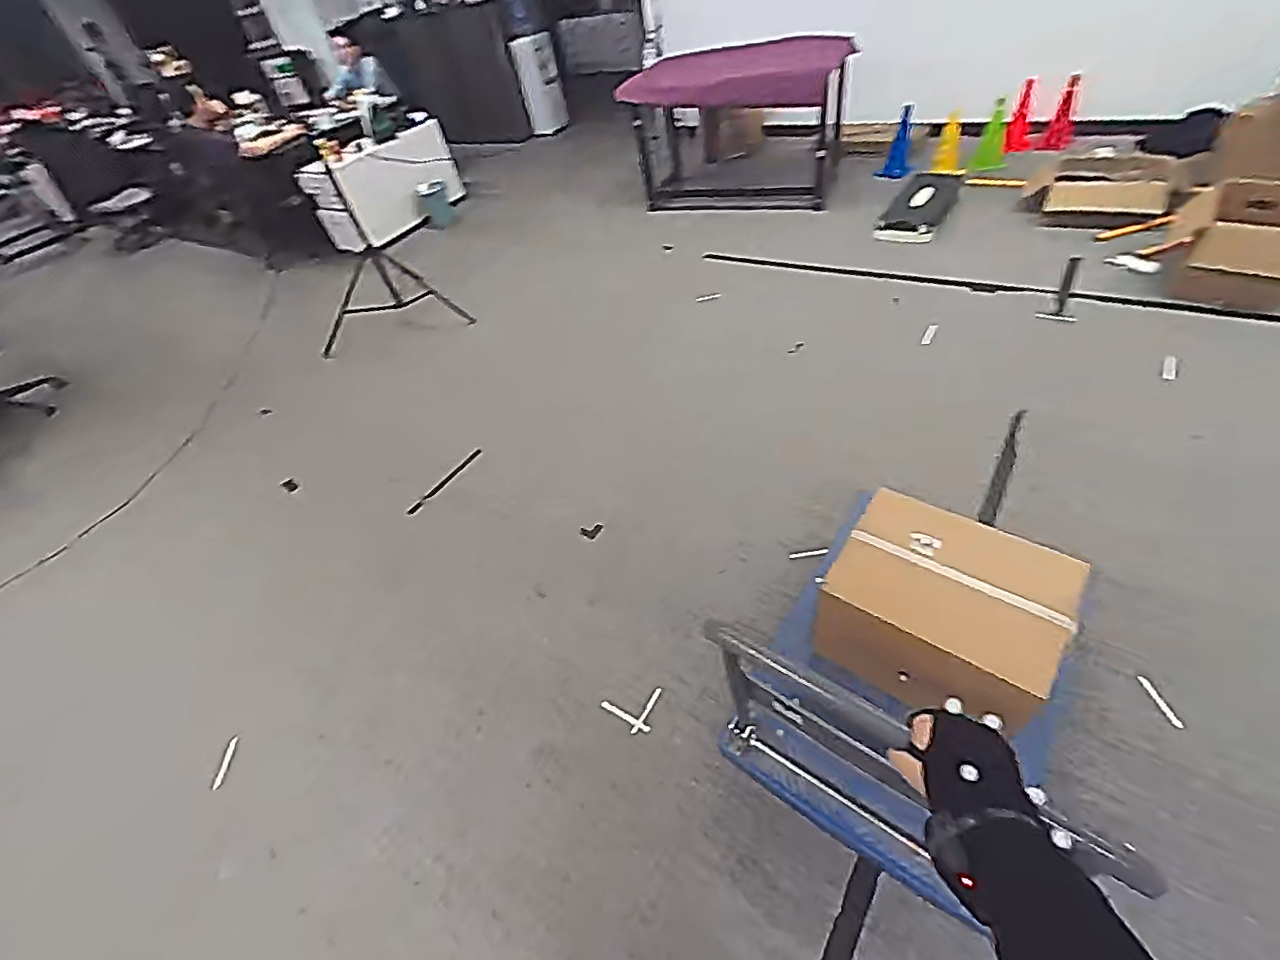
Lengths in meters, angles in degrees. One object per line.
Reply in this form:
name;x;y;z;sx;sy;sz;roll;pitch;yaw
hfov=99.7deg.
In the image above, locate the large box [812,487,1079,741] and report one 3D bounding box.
large box;0.629;0.280;1.173;0.408;0.320;0.320;24;57;32
